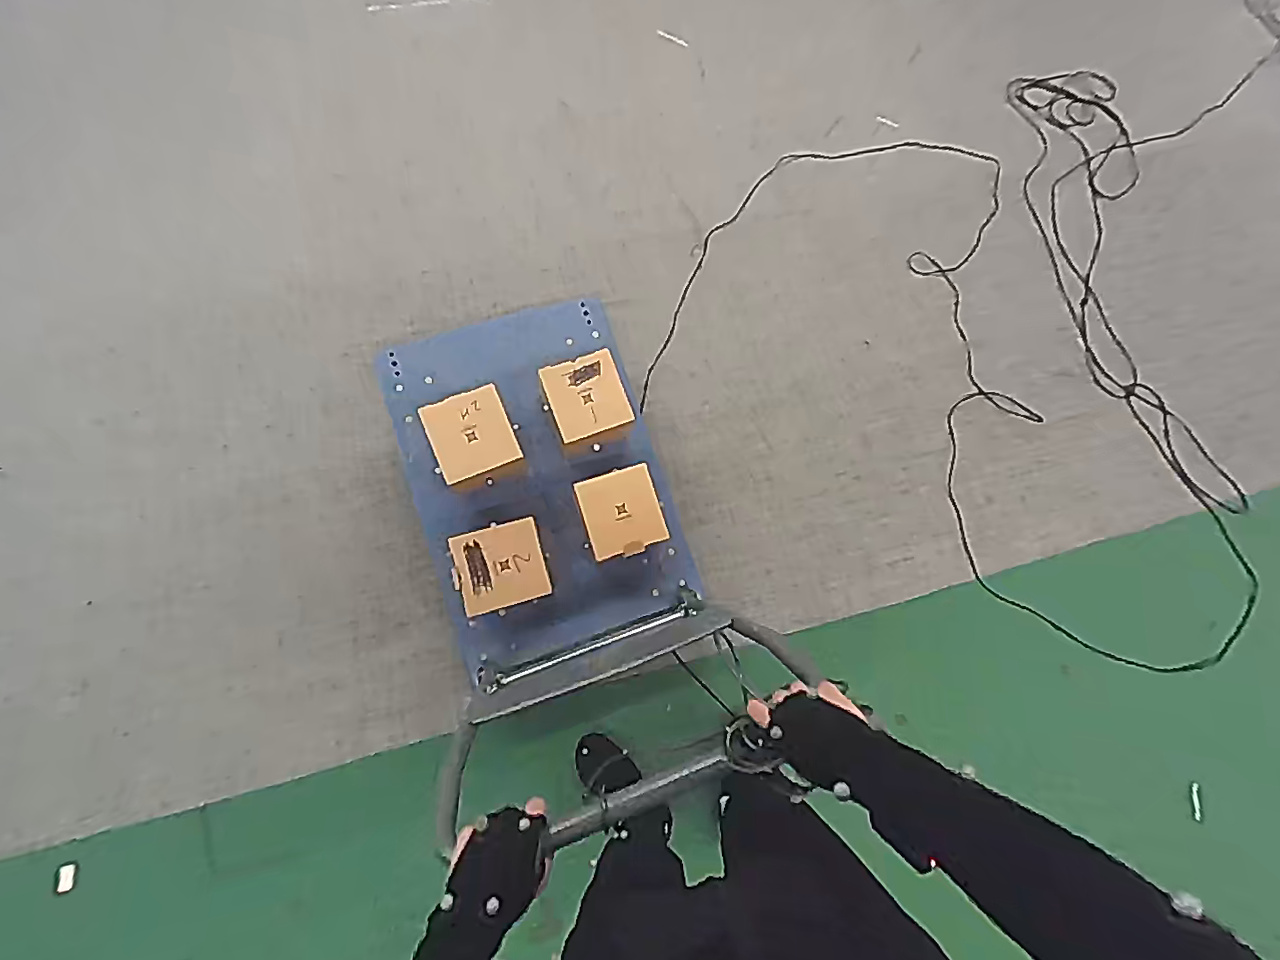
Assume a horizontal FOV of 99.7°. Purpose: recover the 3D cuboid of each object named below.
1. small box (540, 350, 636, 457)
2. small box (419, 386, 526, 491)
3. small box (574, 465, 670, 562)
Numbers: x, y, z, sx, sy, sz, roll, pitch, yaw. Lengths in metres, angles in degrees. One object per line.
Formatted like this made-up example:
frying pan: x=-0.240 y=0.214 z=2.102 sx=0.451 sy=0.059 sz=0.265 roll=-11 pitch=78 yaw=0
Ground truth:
small box: x=-0.124 y=-0.170 z=1.247 sx=0.168 sy=0.176 sz=0.179 roll=-20 pitch=86 yaw=-10
small box: x=-0.361 y=-0.082 z=1.200 sx=0.168 sy=0.176 sz=0.179 roll=-22 pitch=86 yaw=-11
small box: x=-0.048 y=0.081 z=1.226 sx=0.168 sy=0.176 sz=0.179 roll=-17 pitch=86 yaw=-10
